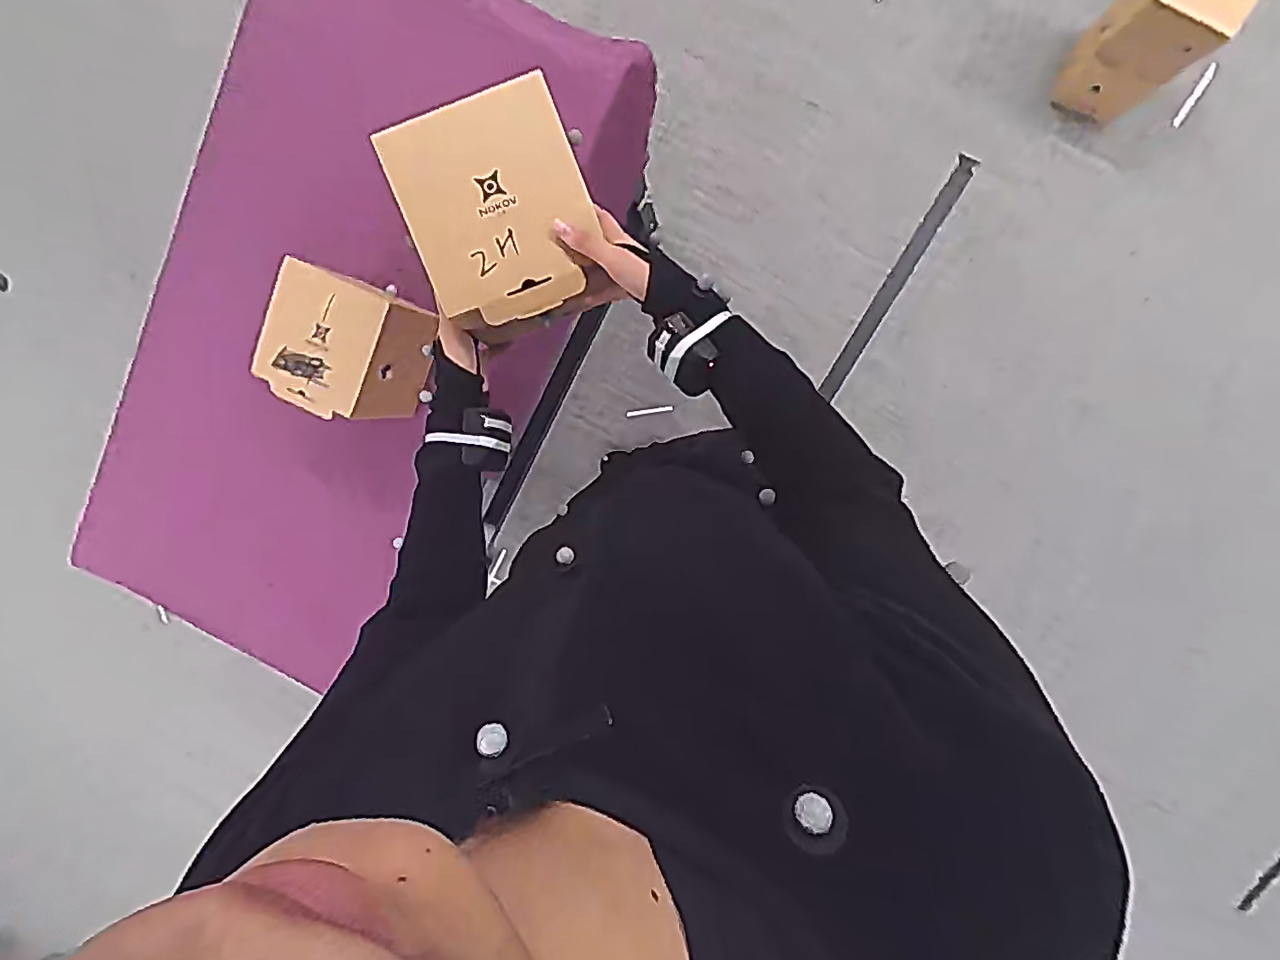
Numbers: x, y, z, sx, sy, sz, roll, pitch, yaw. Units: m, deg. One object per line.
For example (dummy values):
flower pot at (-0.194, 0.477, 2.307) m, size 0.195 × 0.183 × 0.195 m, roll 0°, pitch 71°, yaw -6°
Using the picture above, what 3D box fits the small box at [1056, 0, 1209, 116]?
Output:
small box at (1.122, -0.995, 1.254) m, size 0.168 × 0.176 × 0.179 m, roll 24°, pitch 100°, yaw 3°

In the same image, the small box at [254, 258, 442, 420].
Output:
small box at (-0.433, -0.205, 0.827) m, size 0.168 × 0.176 × 0.179 m, roll 24°, pitch 100°, yaw 3°

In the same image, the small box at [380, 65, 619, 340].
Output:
small box at (-0.128, -0.265, 0.562) m, size 0.168 × 0.176 × 0.179 m, roll -21°, pitch 96°, yaw 1°
